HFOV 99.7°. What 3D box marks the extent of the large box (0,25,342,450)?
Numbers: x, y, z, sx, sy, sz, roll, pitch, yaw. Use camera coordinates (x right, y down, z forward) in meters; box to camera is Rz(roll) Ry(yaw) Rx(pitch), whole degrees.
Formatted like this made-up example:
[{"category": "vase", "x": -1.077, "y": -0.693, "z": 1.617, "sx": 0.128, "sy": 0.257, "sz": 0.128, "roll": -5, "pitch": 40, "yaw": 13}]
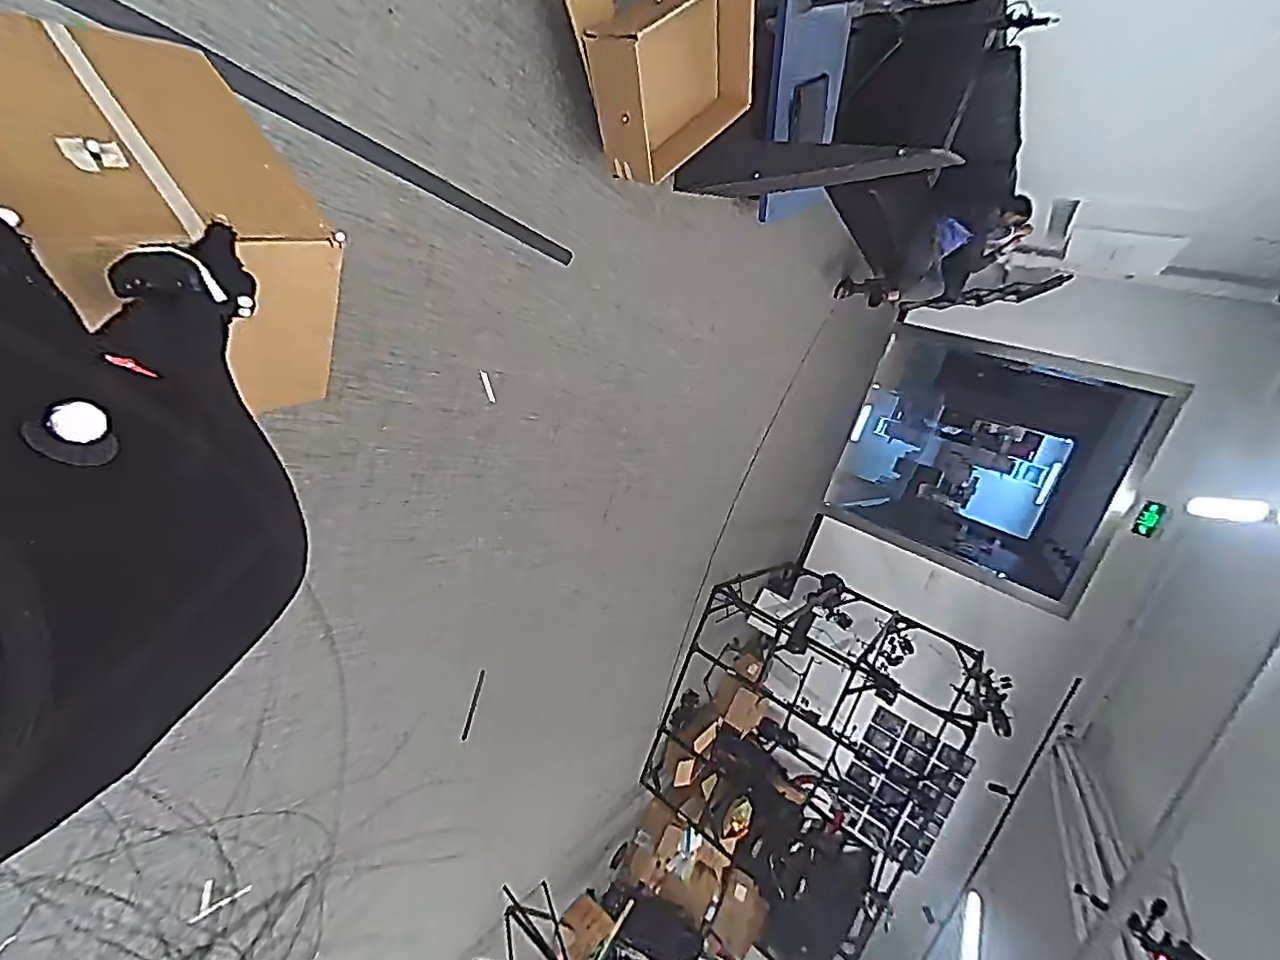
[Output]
[{"category": "large box", "x": -0.682, "y": -0.316, "z": 0.740, "sx": 0.320, "sy": 0.408, "sz": 0.320, "roll": -29, "pitch": 166, "yaw": -44}]
